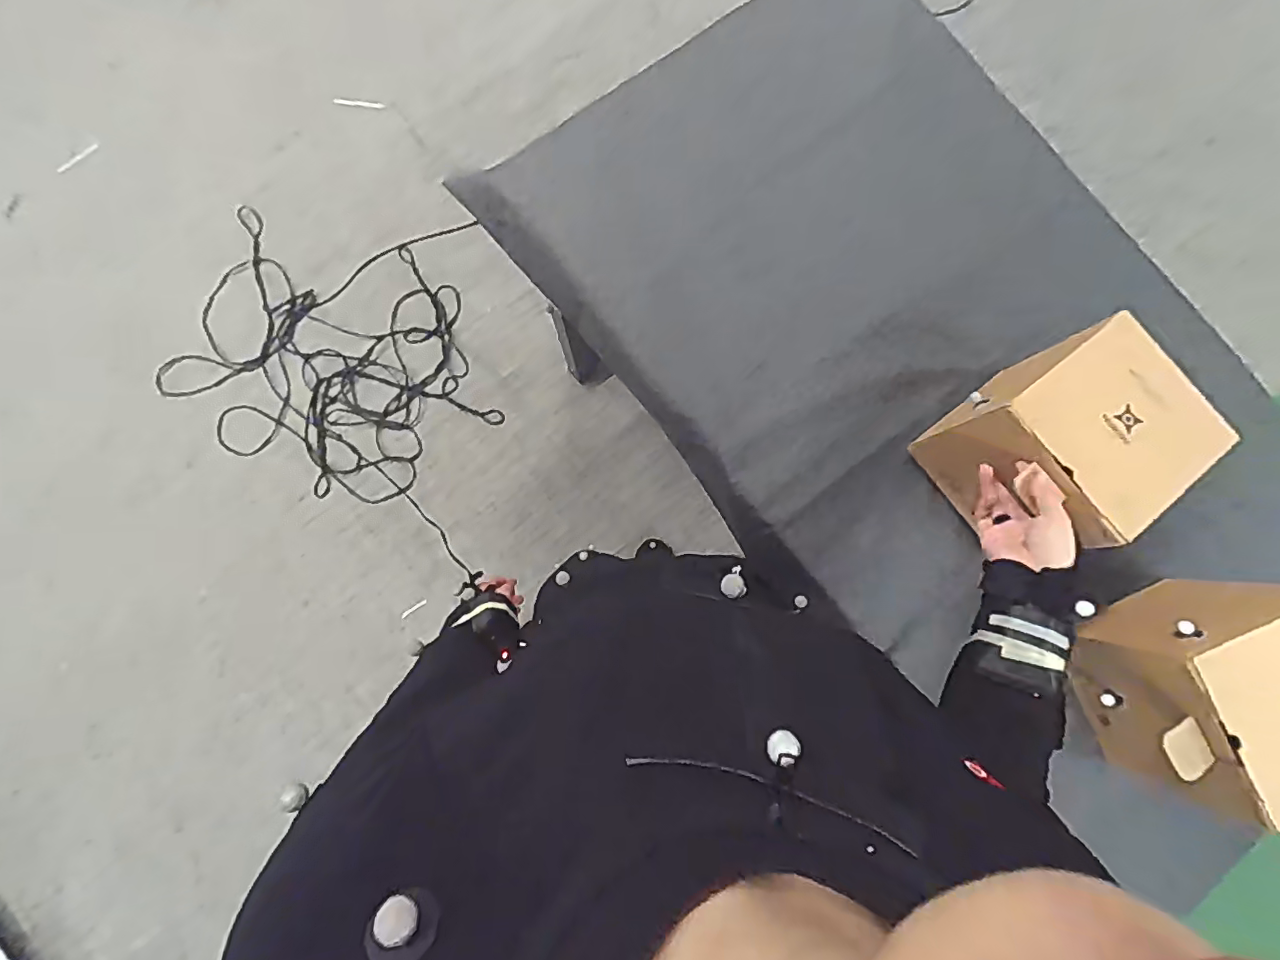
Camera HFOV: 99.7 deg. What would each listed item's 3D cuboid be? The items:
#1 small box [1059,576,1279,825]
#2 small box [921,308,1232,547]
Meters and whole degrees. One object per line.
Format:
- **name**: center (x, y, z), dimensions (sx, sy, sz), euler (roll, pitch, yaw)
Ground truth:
- **small box**: center (0.610, 0.209, 0.571), dimensions (0.179, 0.176, 0.168), euler (-23, 84, -4)
- **small box**: center (0.445, -0.042, 0.588), dimensions (0.179, 0.176, 0.168), euler (-38, 85, -12)
